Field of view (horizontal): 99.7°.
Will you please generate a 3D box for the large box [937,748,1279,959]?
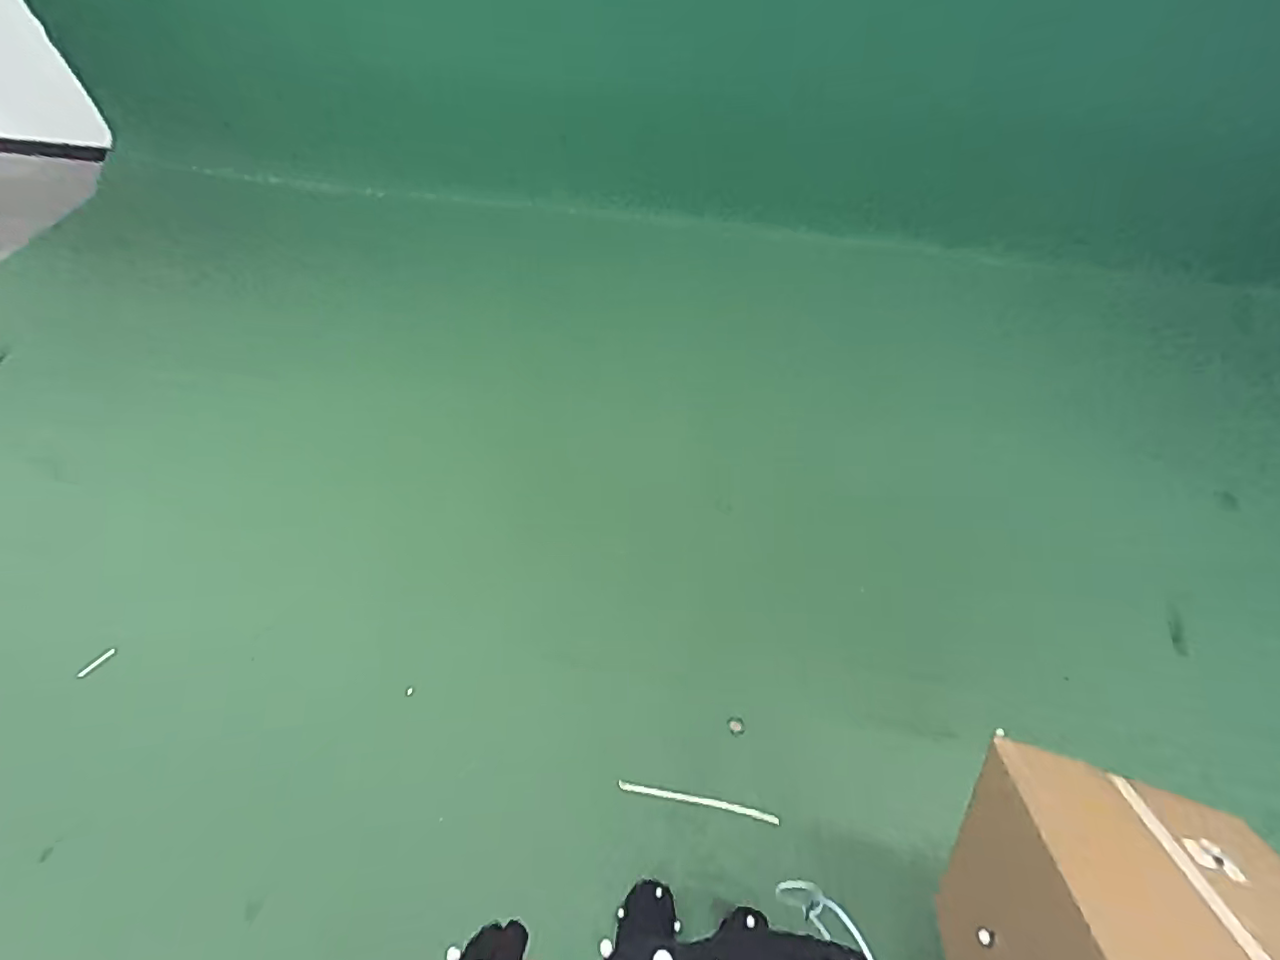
[{"bbox_3d":[0.587,0.609,0.624,0.320,0.408,0.320,16,100,16],"label":"large box"}]
